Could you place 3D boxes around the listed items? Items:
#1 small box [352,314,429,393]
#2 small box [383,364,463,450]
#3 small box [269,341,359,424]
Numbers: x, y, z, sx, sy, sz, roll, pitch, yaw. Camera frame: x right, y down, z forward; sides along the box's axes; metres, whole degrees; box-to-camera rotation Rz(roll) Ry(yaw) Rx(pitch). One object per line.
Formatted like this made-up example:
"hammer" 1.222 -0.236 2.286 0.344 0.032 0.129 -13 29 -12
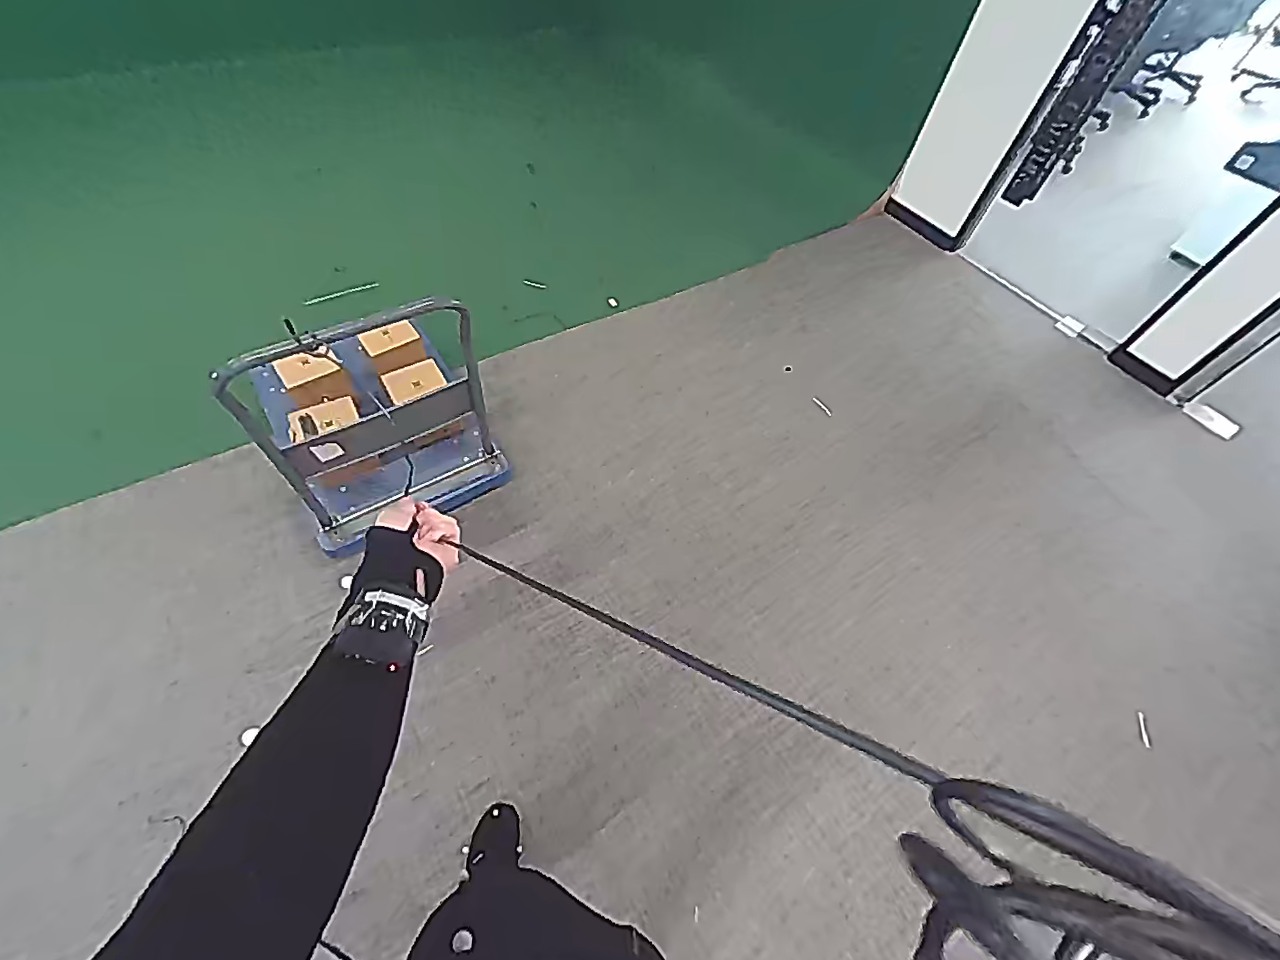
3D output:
"small box" -0.830 -0.420 1.818 0.168 0.176 0.179 -31 65 -23
"small box" -0.679 -0.227 1.703 0.168 0.176 0.179 -26 63 -21
"small box" -1.027 -0.301 1.717 0.168 0.176 0.179 -30 64 -24
